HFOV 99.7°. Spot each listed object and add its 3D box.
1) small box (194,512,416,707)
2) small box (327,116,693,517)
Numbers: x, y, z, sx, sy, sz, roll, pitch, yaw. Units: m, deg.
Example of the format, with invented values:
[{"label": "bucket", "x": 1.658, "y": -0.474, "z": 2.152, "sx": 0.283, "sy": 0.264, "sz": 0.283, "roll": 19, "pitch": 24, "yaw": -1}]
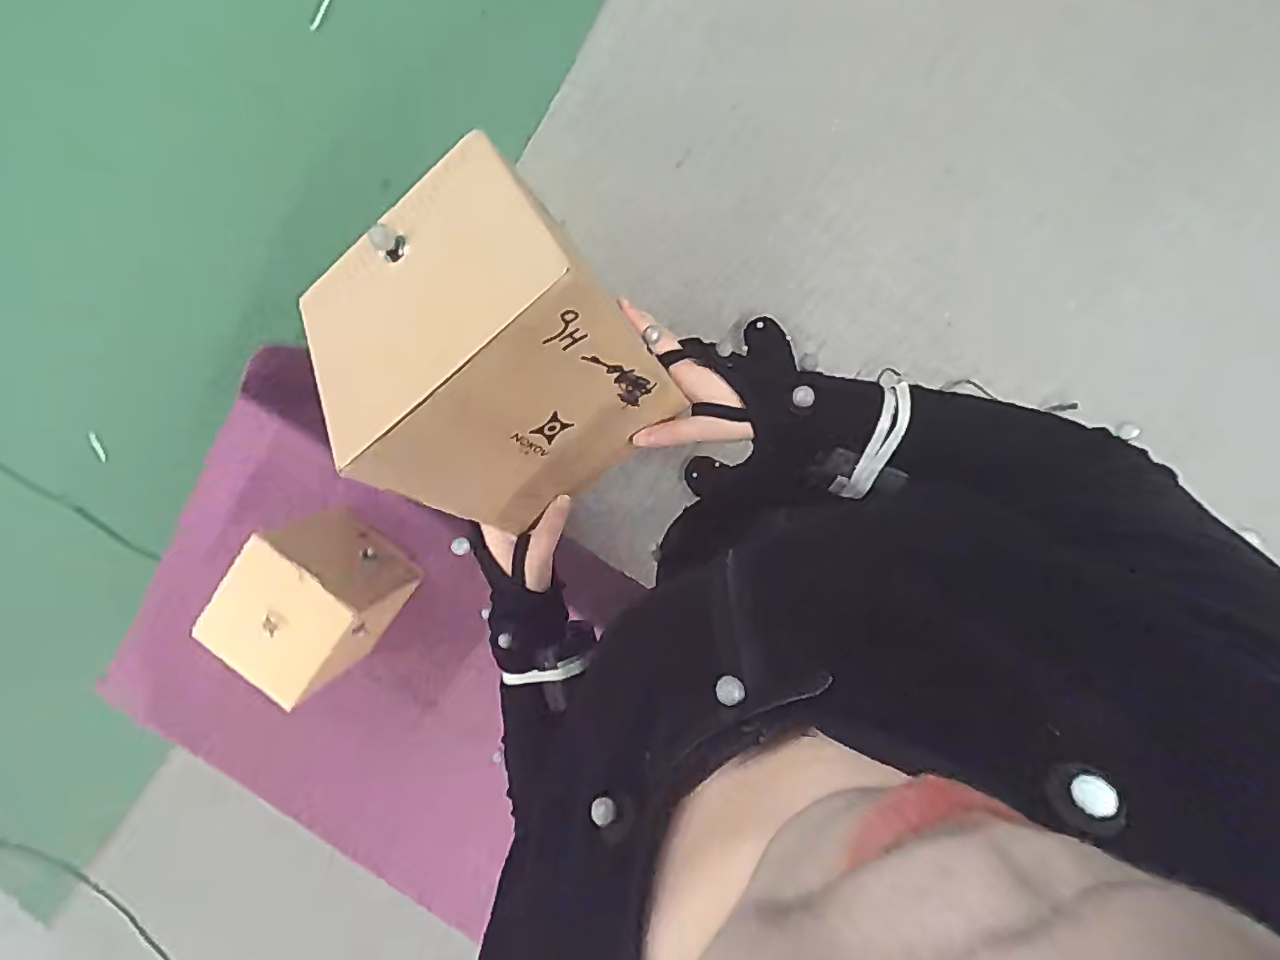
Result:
[{"label": "small box", "x": -0.455, "y": 0.169, "z": 0.763, "sx": 0.168, "sy": 0.176, "sz": 0.179, "roll": 38, "pitch": 100, "yaw": 1}, {"label": "small box", "x": -0.095, "y": -0.105, "z": 0.389, "sx": 0.179, "sy": 0.168, "sz": 0.176, "roll": -35, "pitch": 60, "yaw": 11}]
